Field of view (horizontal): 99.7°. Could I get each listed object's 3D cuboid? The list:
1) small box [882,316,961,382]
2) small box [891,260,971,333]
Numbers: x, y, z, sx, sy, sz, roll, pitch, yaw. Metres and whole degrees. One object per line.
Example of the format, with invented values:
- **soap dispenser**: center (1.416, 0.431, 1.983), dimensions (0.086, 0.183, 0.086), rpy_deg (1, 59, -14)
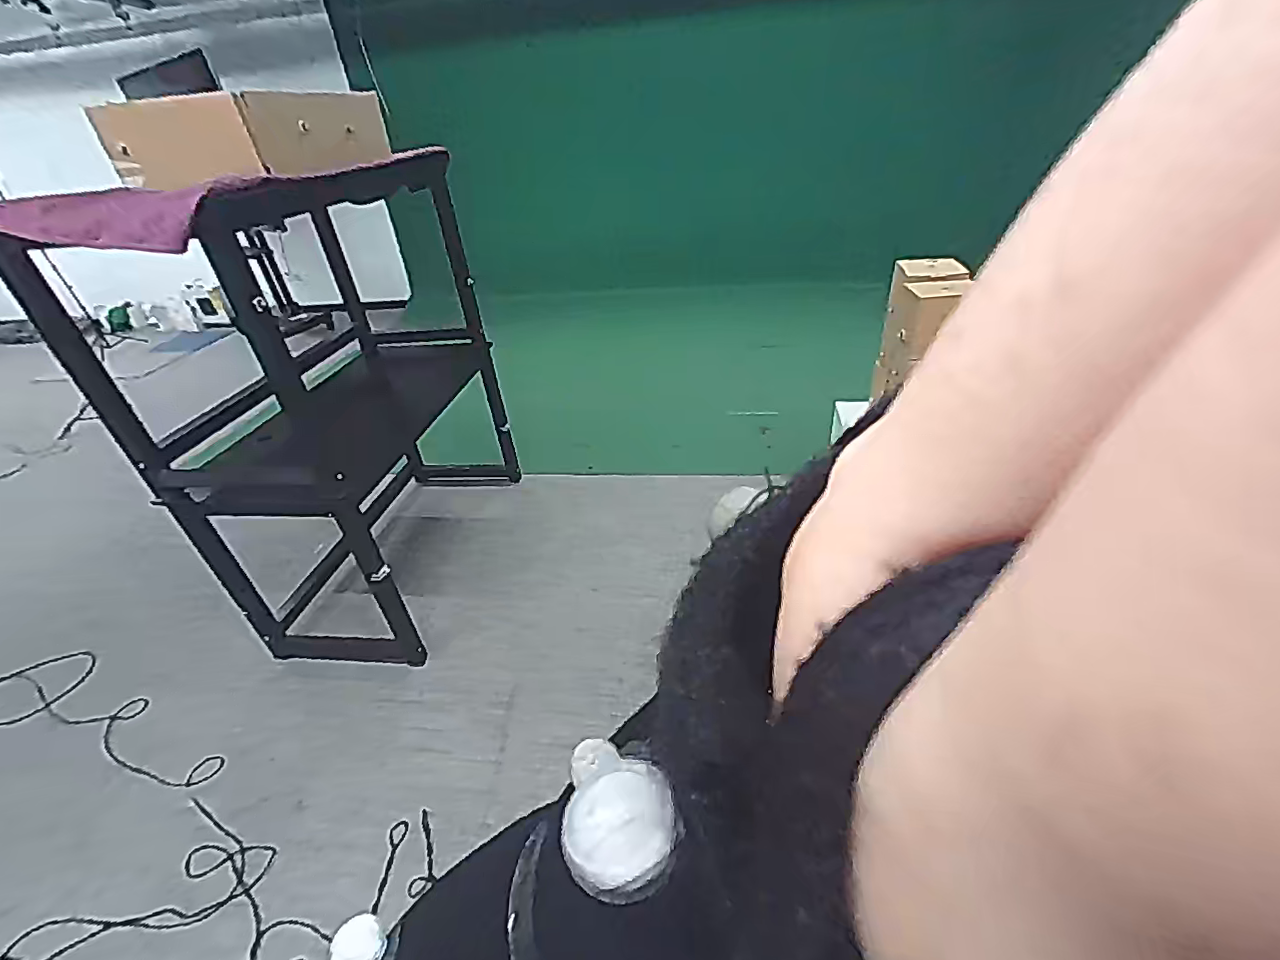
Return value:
- **small box**: center (0.897, -0.424, 1.738), dimensions (0.179, 0.176, 0.168), rpy_deg (2, 36, 11)
- **small box**: center (0.875, -0.554, 1.641), dimensions (0.168, 0.176, 0.179), rpy_deg (3, 37, 11)
